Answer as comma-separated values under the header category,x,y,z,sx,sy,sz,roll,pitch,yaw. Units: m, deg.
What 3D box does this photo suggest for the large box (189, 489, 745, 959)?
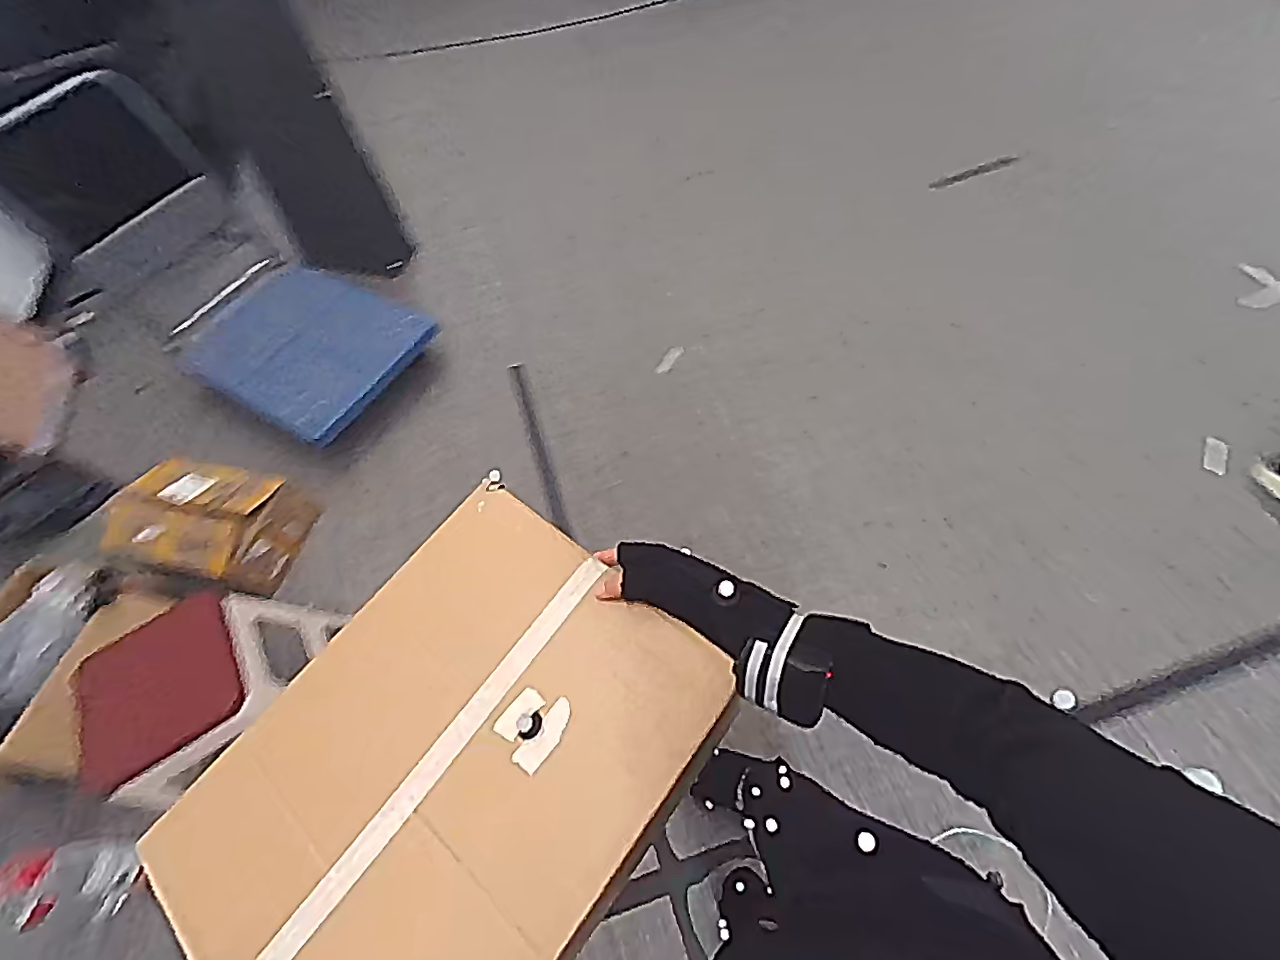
category,x,y,z,sx,sy,sz,roll,pitch,yaw
large box,-0.126,0.297,0.581,0.320,0.320,0.408,34,71,24
